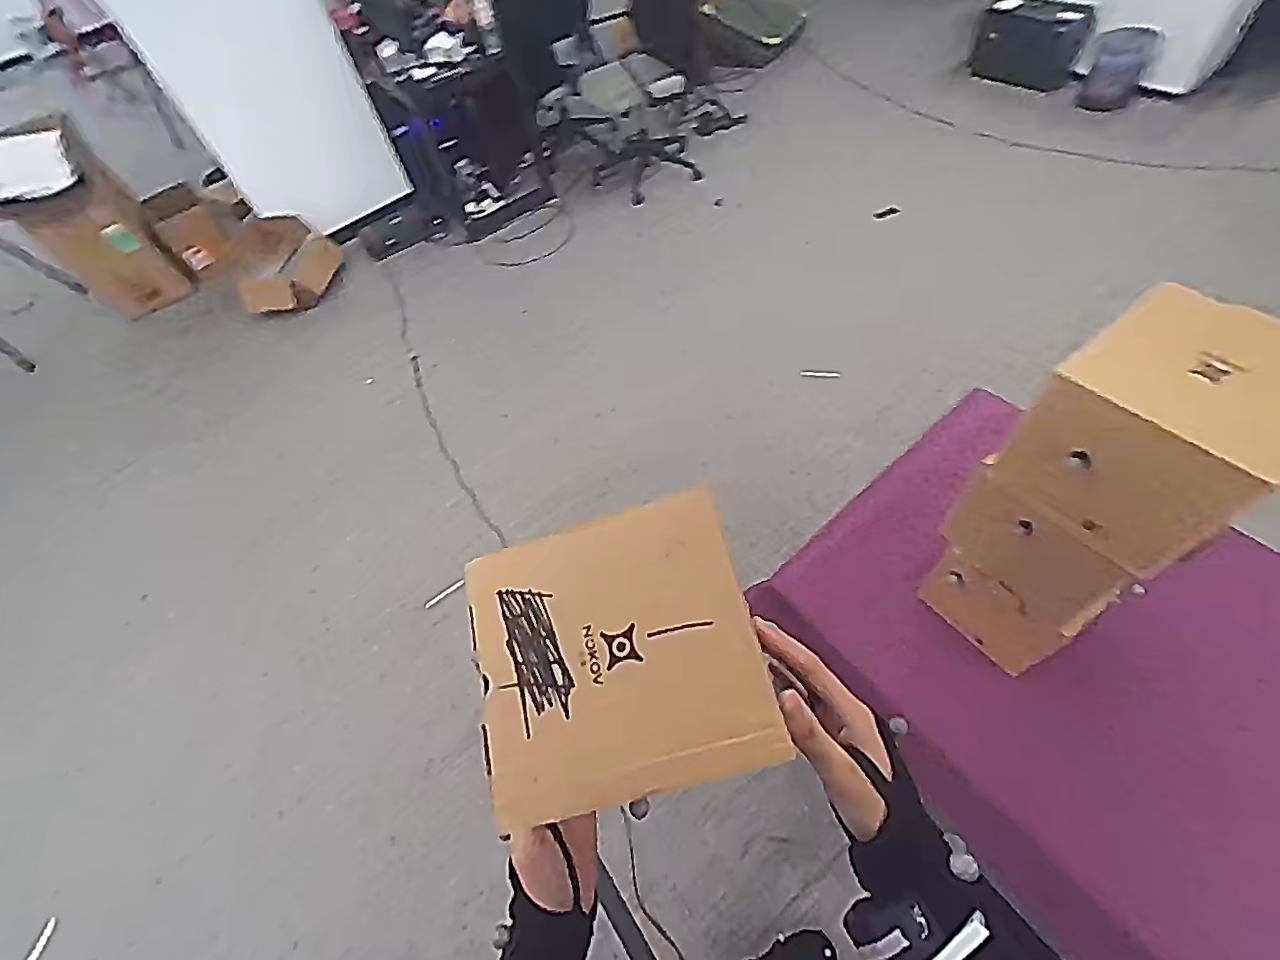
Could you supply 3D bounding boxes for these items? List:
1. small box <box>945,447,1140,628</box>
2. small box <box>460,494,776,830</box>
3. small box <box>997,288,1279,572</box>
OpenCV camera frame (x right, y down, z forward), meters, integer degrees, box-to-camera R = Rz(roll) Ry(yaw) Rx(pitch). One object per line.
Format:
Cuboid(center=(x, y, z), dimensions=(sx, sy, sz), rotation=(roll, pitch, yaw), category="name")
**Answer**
Cuboid(center=(0.513, 0.046, 0.653), dimensions=(0.168, 0.176, 0.179), rotation=(-29, 56, -10), category="small box")
Cuboid(center=(-0.007, 0.135, 0.407), dimensions=(0.179, 0.176, 0.168), rotation=(-19, 67, 5), category="small box")
Cuboid(center=(0.486, -0.043, 0.519), dimensions=(0.179, 0.176, 0.168), rotation=(-34, 57, -15), category="small box")
